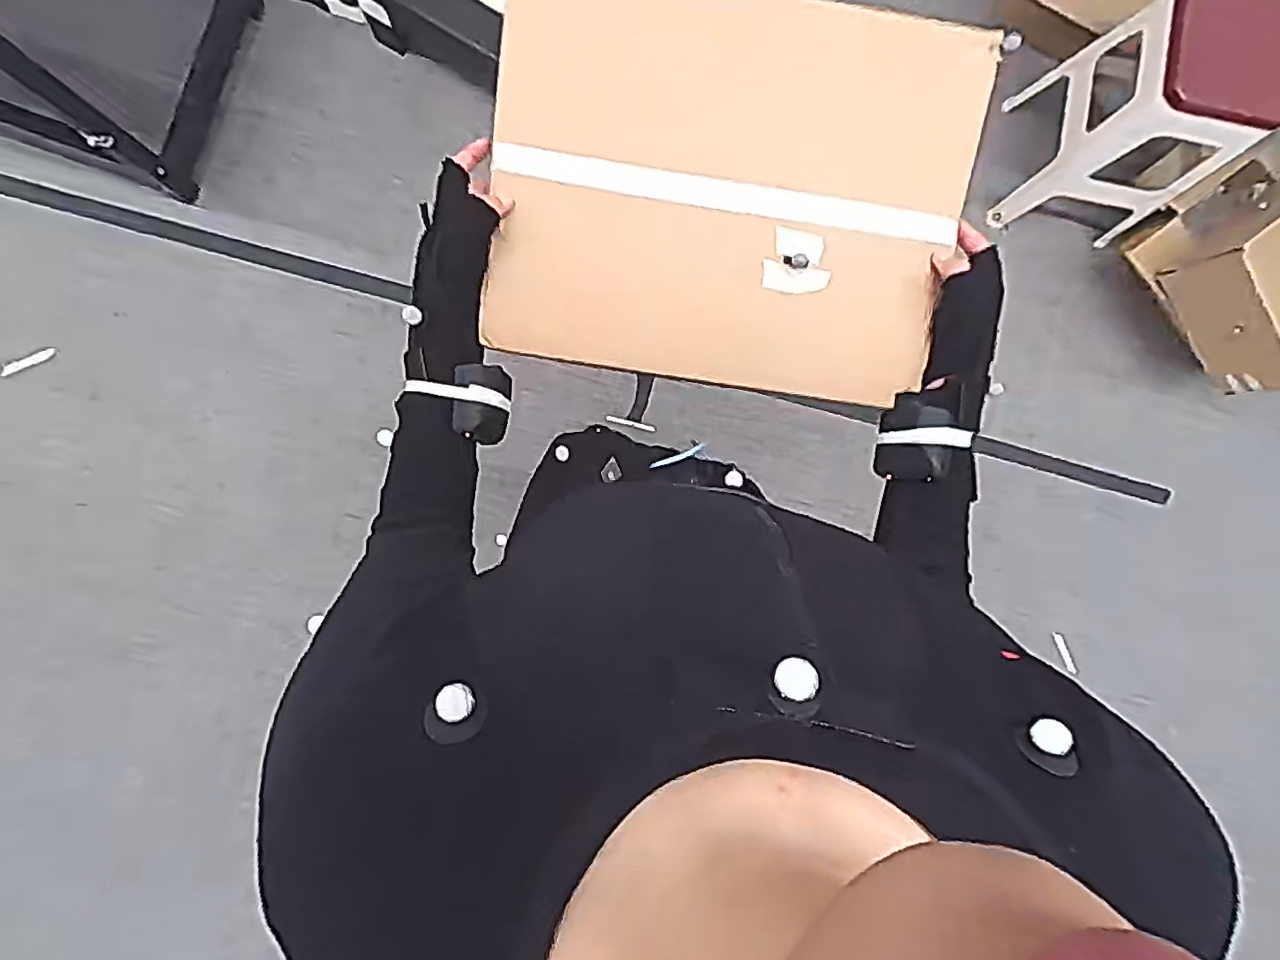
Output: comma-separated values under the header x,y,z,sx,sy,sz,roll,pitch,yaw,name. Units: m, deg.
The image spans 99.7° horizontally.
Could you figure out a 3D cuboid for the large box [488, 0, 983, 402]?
x,y,z,sx,sy,sz,roll,pitch,yaw,name
0.068,-0.276,0.619,0.408,0.320,0.320,8,102,-4,large box
